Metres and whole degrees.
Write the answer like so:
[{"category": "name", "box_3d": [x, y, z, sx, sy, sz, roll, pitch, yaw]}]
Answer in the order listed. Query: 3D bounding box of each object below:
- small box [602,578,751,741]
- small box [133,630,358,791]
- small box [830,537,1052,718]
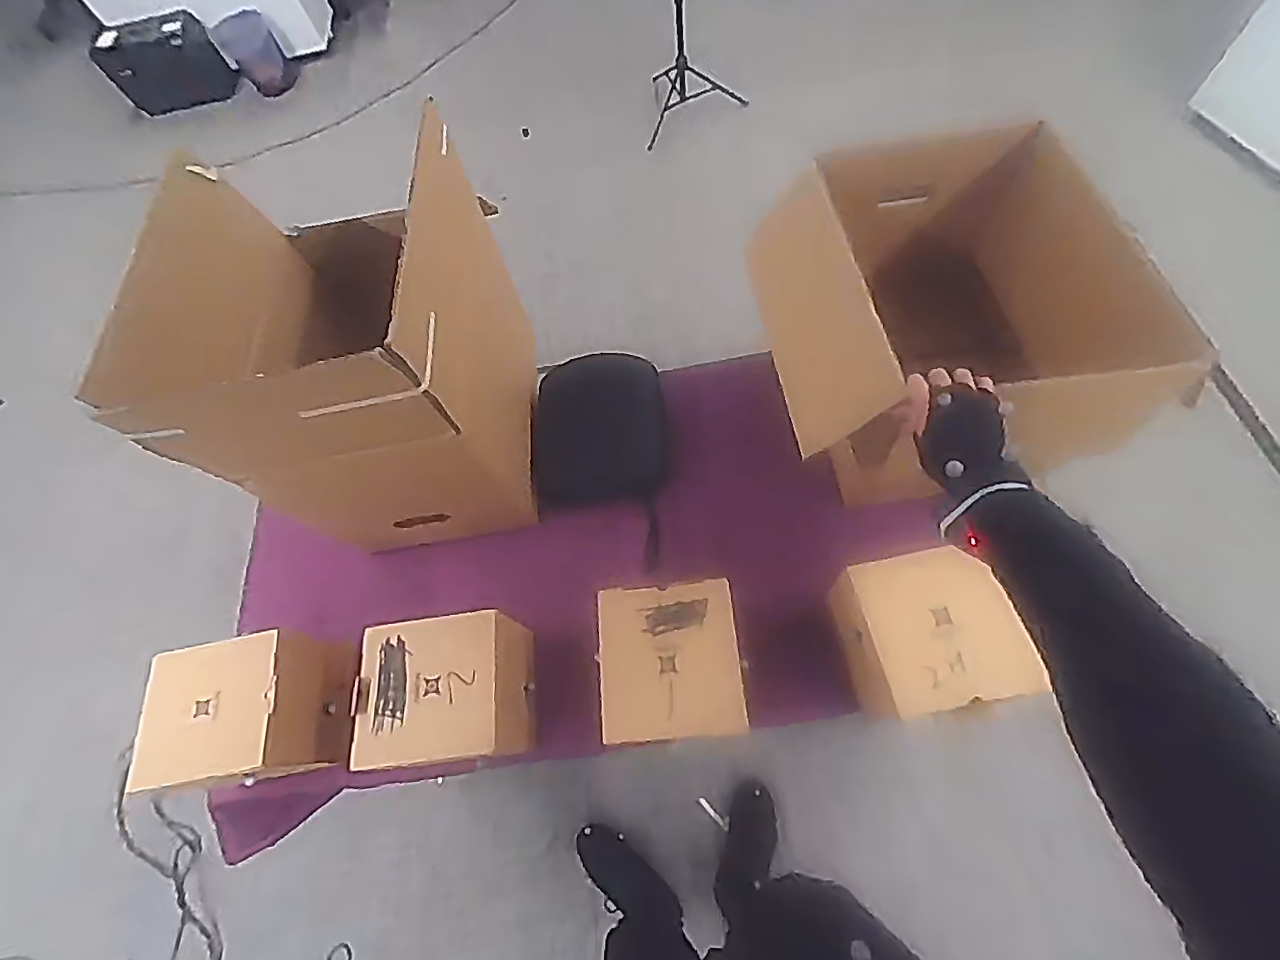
[{"category": "small box", "box_3d": [0.046, 0.240, 0.707, 0.168, 0.176, 0.179, -7, 65, 5]}, {"category": "small box", "box_3d": [-0.528, 0.321, 0.752, 0.179, 0.176, 0.168, -12, 64, 1]}, {"category": "small box", "box_3d": [0.355, 0.194, 0.683, 0.168, 0.176, 0.179, -12, 64, 4]}]
